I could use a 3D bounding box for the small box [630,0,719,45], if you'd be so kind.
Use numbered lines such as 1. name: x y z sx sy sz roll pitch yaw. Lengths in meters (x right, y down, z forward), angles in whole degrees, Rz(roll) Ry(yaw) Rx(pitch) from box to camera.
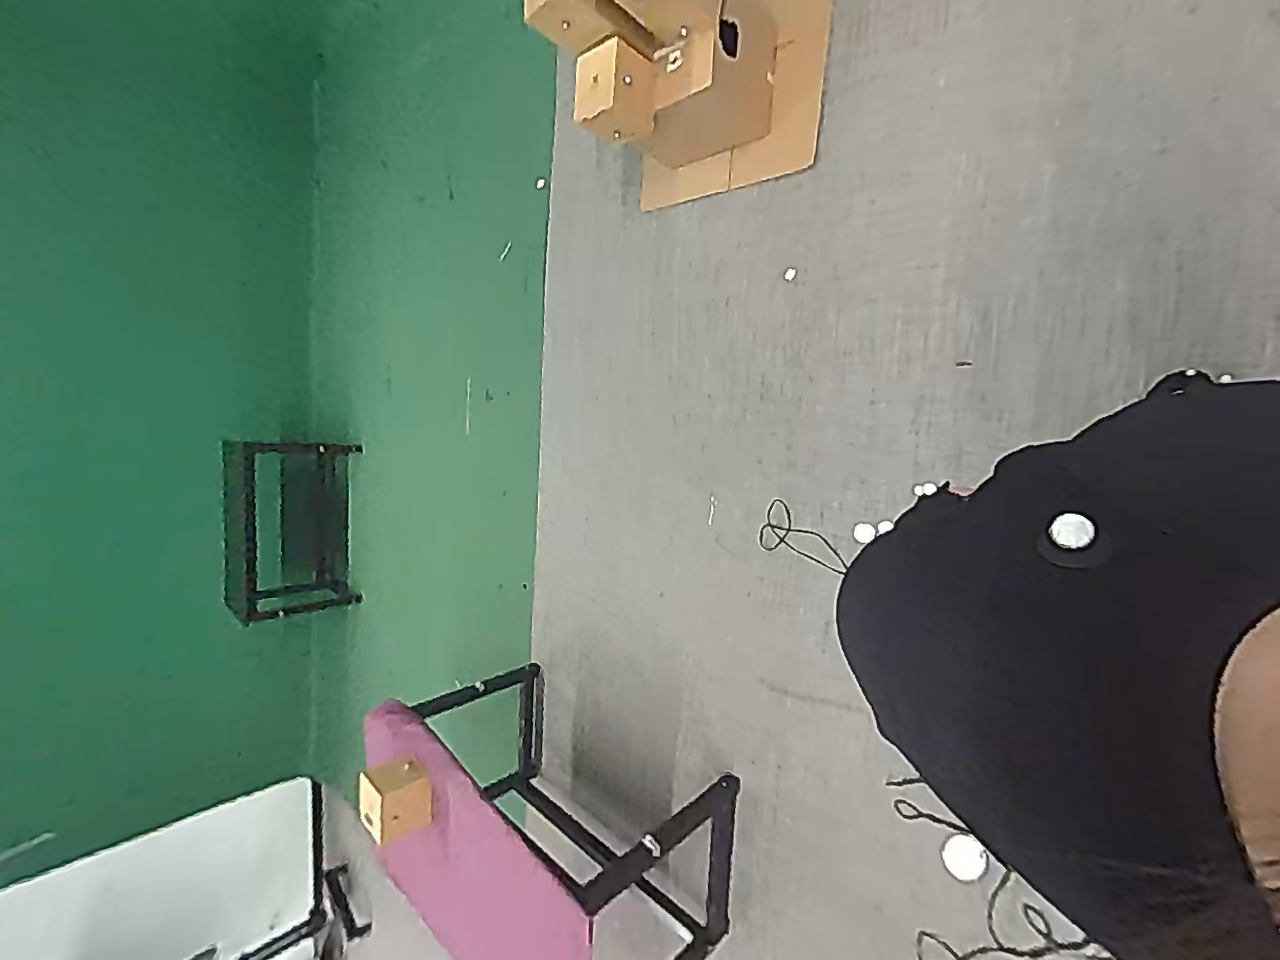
1. small box: 0.098 -1.280 1.393 0.179 0.176 0.168 15 102 44

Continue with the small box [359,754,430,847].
1. small box: -0.814 1.053 1.793 0.168 0.176 0.179 9 98 42
